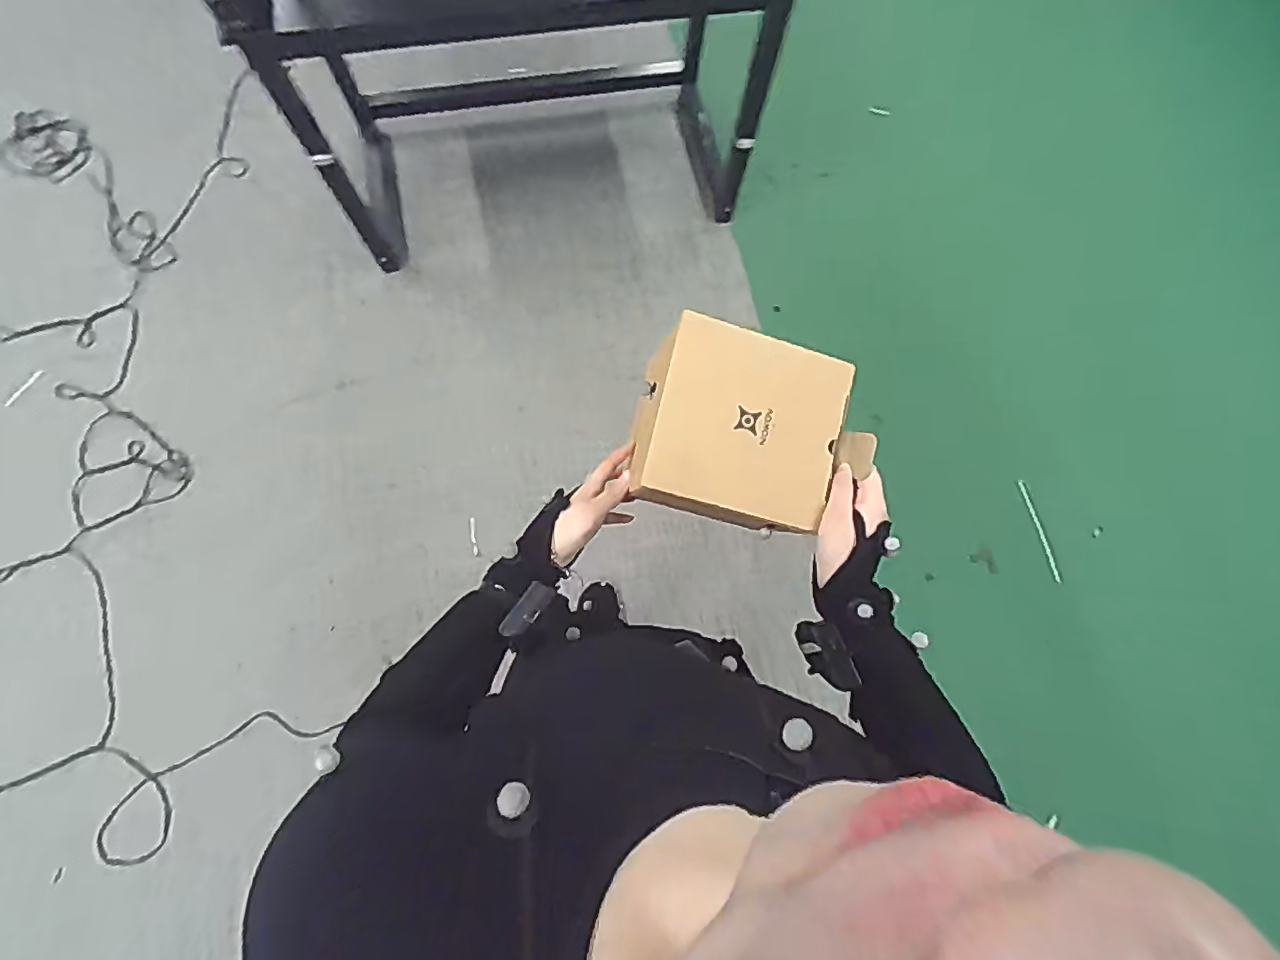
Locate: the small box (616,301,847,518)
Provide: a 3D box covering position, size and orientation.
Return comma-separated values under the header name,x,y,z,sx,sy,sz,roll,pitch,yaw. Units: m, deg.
name,x,y,z,sx,sy,sz,roll,pitch,yaw
small box,0.081,-0.056,0.565,0.179,0.176,0.168,15,83,-9
